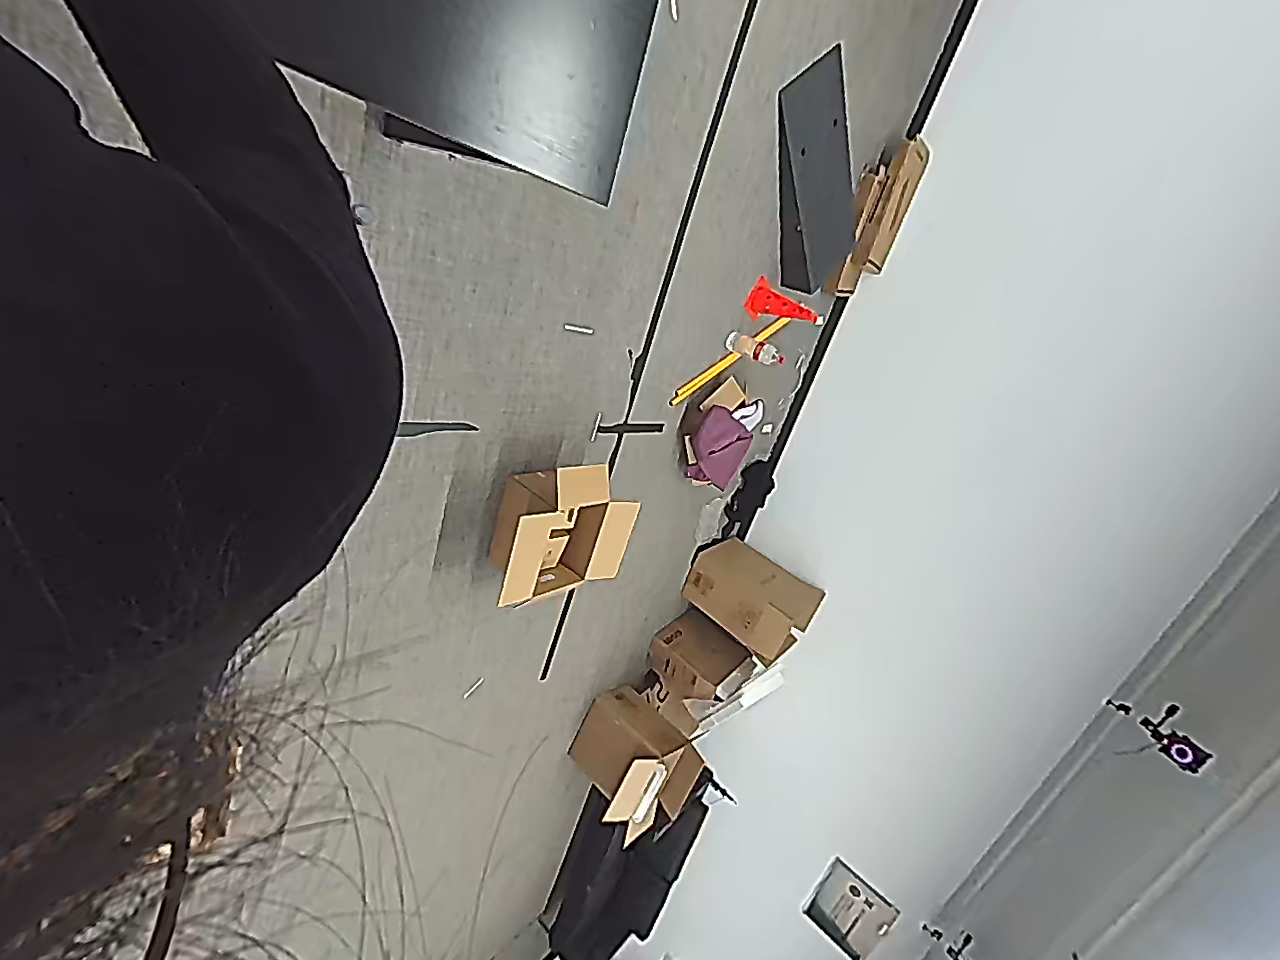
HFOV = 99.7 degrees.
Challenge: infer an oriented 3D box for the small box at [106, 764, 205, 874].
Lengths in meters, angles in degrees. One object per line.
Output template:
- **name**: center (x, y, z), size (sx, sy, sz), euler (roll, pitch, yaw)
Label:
- **small box**: center (-1.394, 0.962, 1.554), size (0.179, 0.176, 0.168), euler (-2, 116, -53)
